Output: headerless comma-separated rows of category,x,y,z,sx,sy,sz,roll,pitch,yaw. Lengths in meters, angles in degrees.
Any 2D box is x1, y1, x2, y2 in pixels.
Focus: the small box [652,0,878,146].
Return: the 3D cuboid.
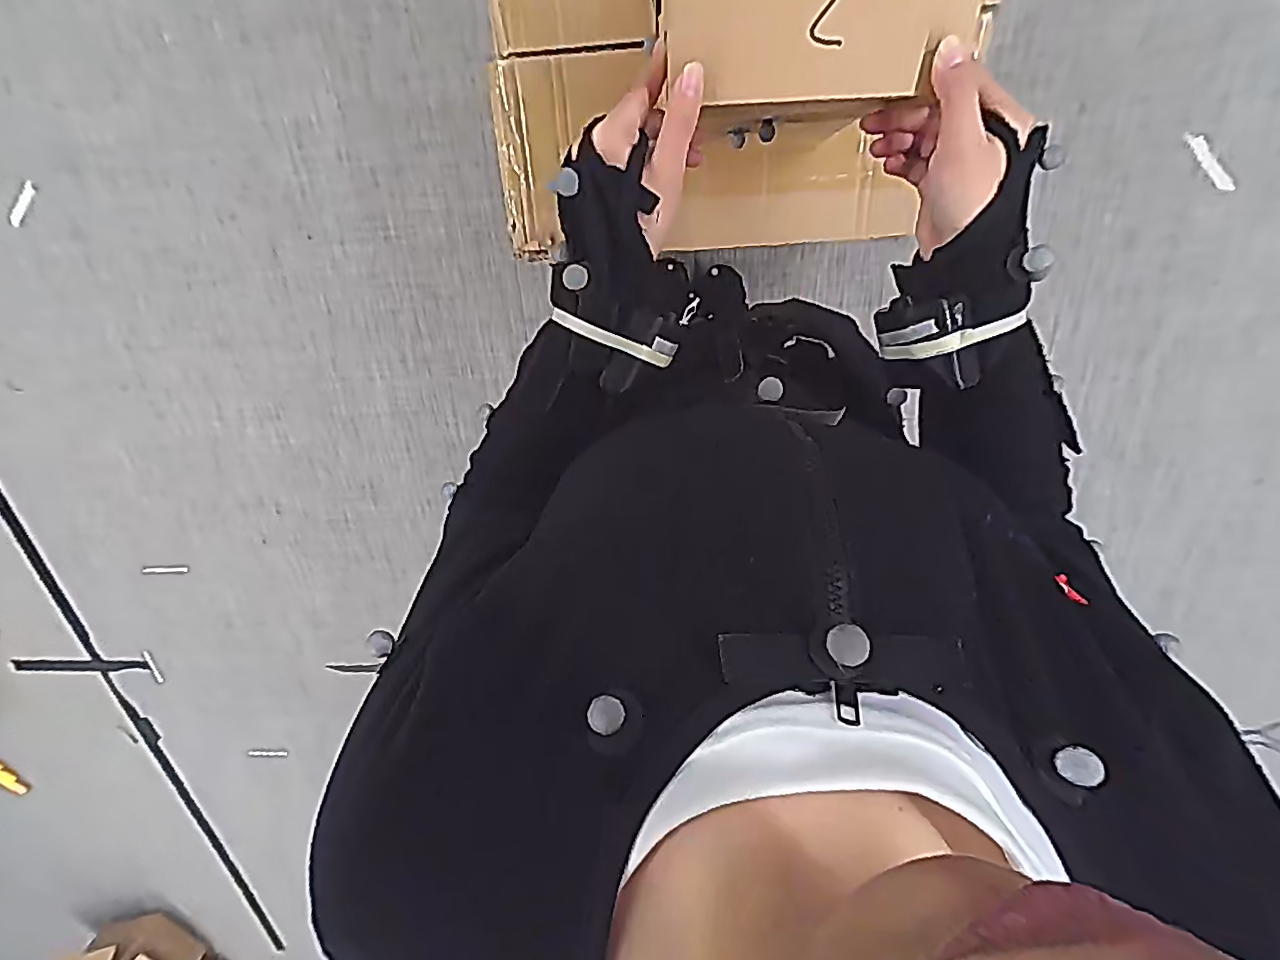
small box,0.102,-0.413,0.490,0.179,0.176,0.168,-1,114,4
